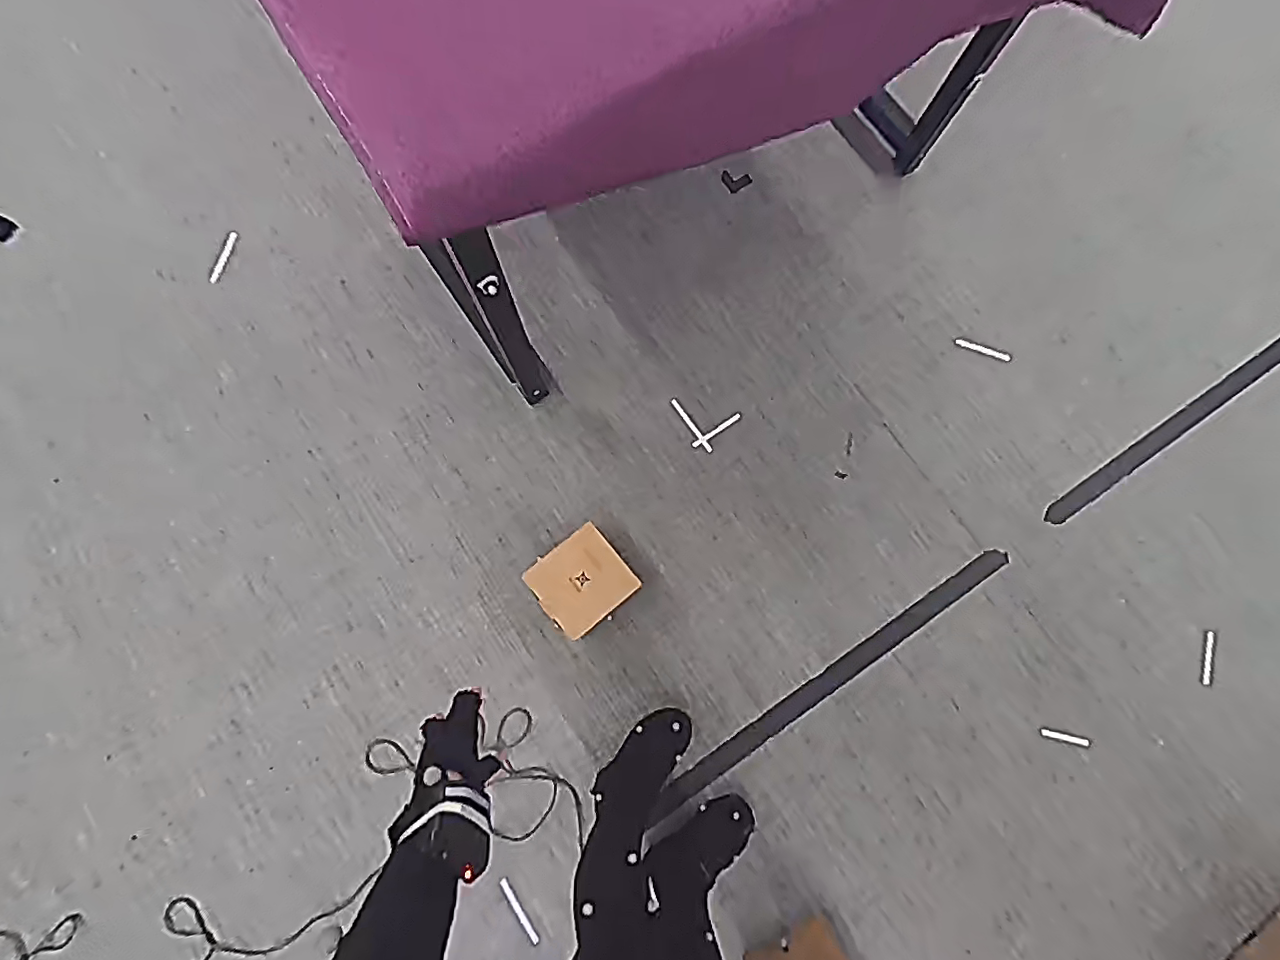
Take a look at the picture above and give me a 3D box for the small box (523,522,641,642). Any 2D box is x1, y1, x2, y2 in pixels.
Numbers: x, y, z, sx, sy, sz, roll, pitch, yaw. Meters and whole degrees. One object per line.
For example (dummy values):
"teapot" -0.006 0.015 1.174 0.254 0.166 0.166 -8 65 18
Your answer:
"small box" -0.114 0.210 1.124 0.179 0.176 0.168 -40 84 -9

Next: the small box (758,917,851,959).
"small box" 0.332 0.976 1.001 0.179 0.176 0.168 -25 82 -5
